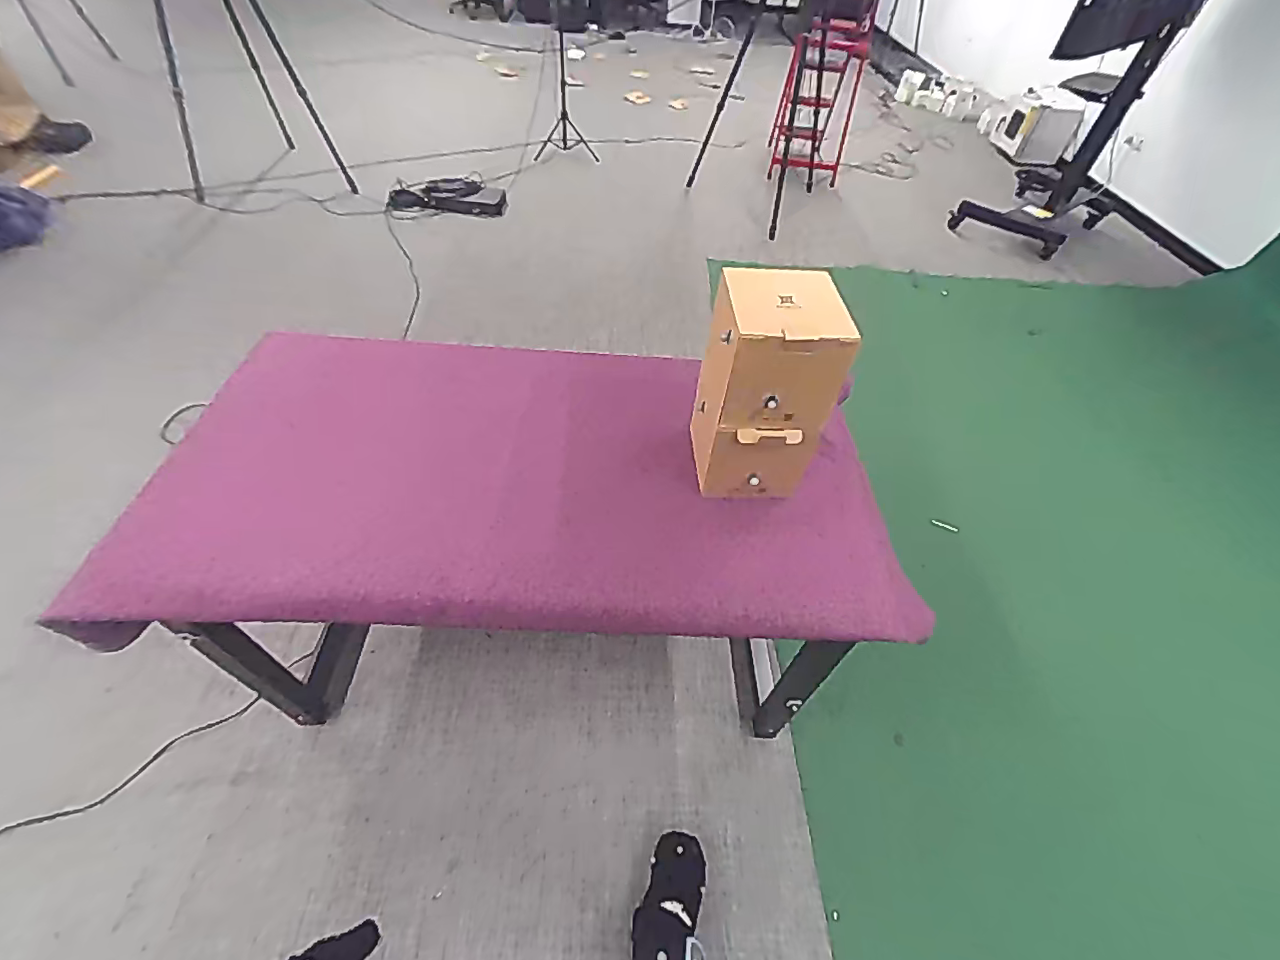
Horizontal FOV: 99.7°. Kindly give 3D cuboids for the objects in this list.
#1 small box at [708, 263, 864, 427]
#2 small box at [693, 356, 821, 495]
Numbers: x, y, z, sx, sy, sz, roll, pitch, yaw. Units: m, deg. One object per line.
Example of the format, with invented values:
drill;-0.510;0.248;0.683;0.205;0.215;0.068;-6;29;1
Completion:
small box;0.204;-0.201;0.816;0.168;0.176;0.179;1;51;-5
small box;0.189;-0.094;0.938;0.168;0.176;0.179;0;50;-4
